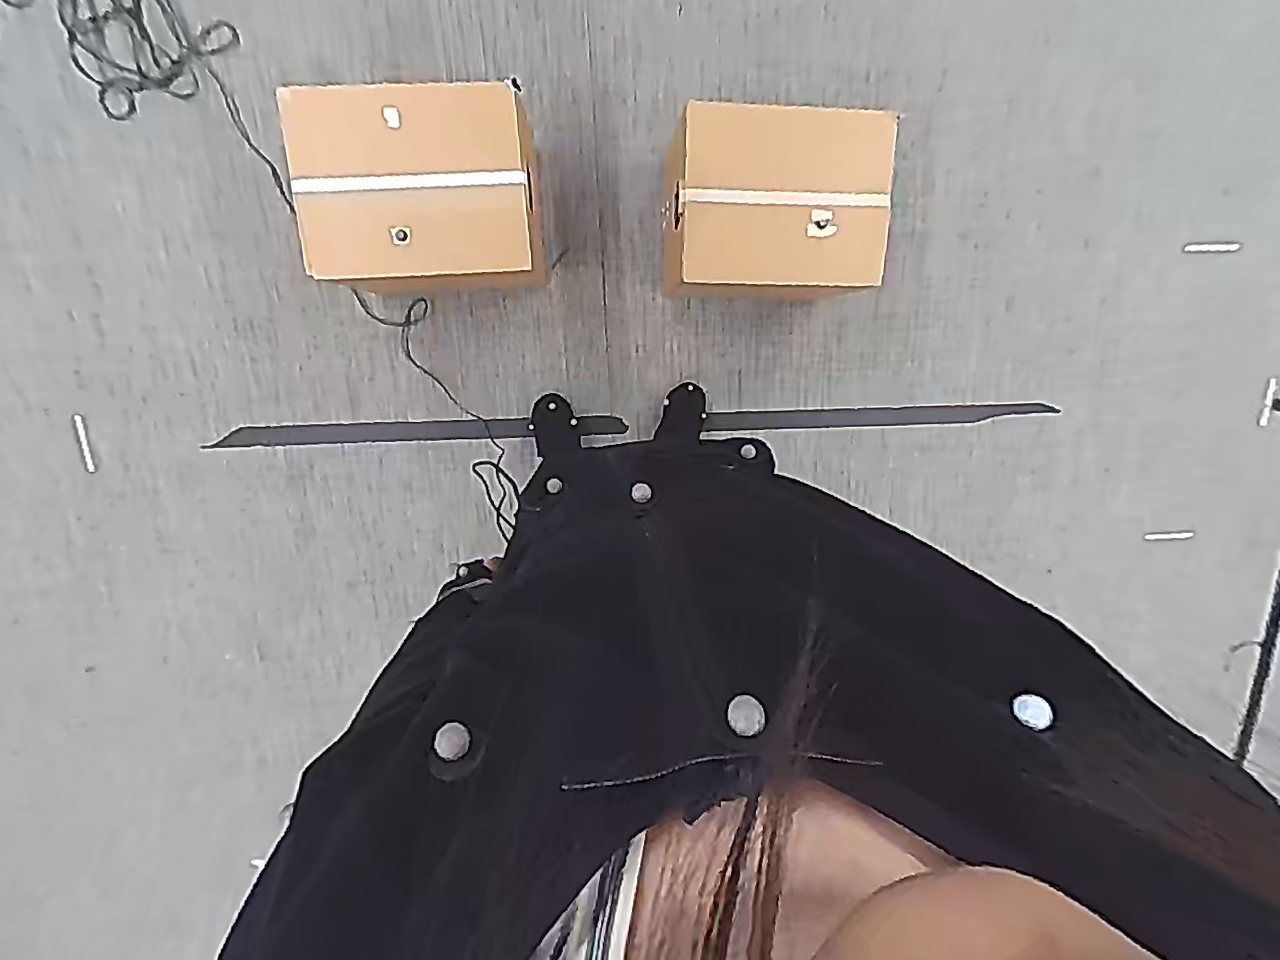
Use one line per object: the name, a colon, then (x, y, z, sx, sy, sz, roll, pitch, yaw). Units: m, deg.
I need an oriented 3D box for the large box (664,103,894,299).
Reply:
large box: (0.269, -0.574, 1.181, 0.408, 0.320, 0.320, 0, 103, -6)
